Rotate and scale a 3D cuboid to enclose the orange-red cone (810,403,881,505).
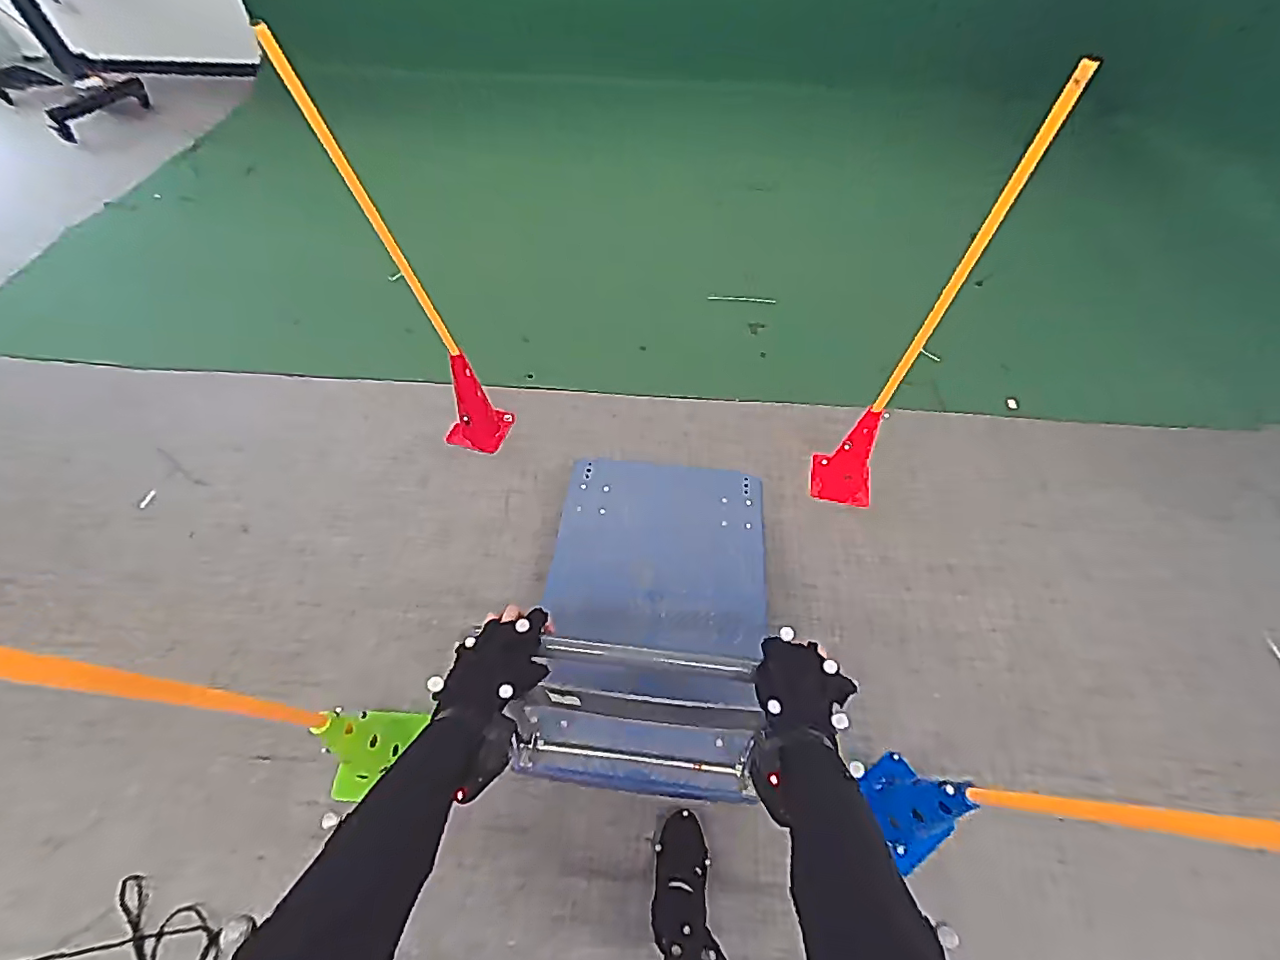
[{"bbox_3d":[0.691,-0.108,1.724,0.198,0.360,0.199,13,55,9],"label":"orange-red cone"}]
